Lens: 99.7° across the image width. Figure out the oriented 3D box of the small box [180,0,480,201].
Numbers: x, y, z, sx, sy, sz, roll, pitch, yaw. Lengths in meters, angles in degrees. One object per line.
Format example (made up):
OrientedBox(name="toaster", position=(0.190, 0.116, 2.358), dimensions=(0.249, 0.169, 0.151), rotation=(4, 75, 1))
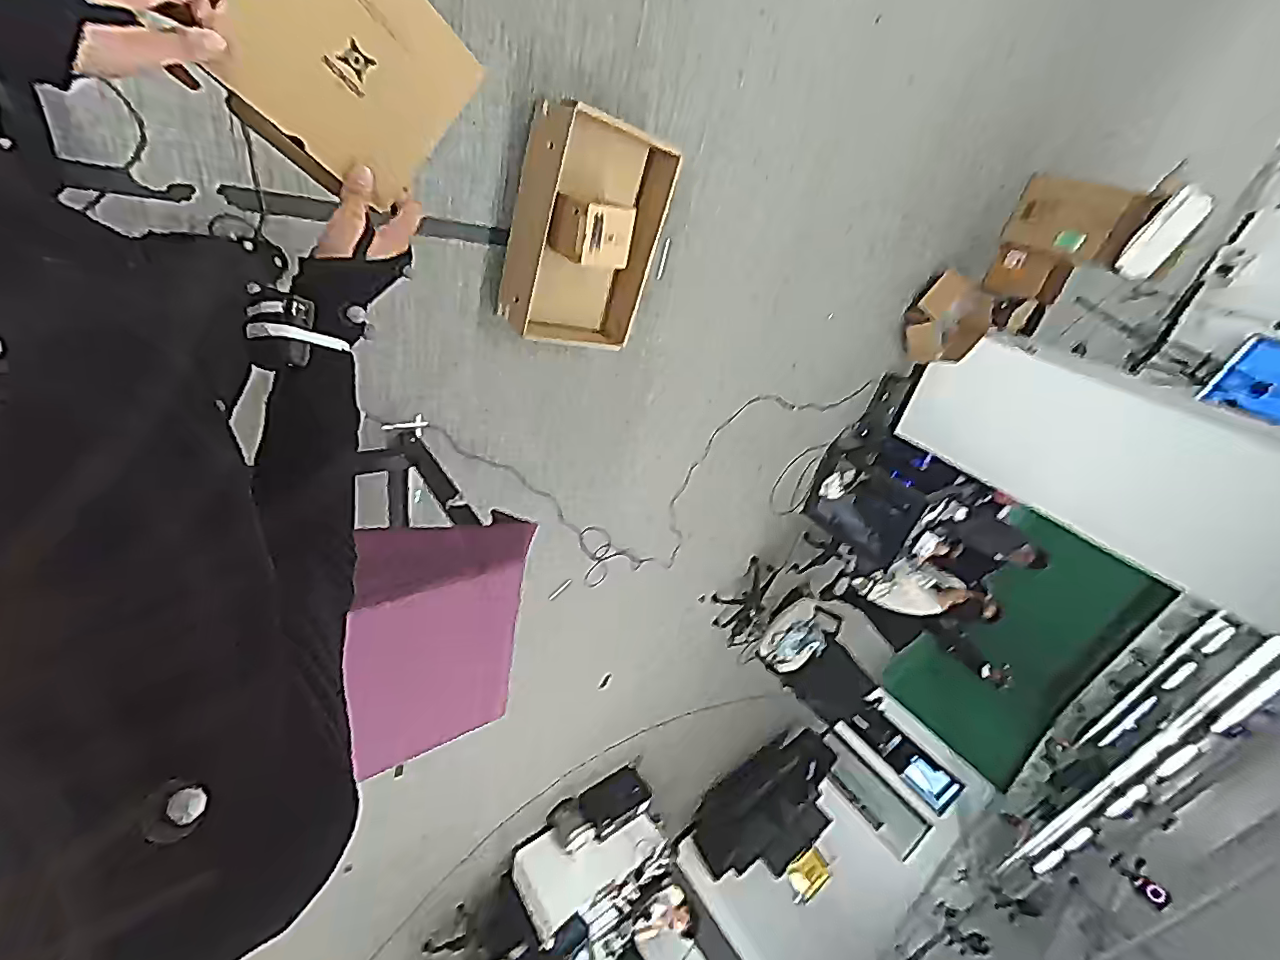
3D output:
OrientedBox(name="small box", position=(-0.288, -0.407, 0.517), dimensions=(0.179, 0.176, 0.168), rotation=(-49, 135, 6))
